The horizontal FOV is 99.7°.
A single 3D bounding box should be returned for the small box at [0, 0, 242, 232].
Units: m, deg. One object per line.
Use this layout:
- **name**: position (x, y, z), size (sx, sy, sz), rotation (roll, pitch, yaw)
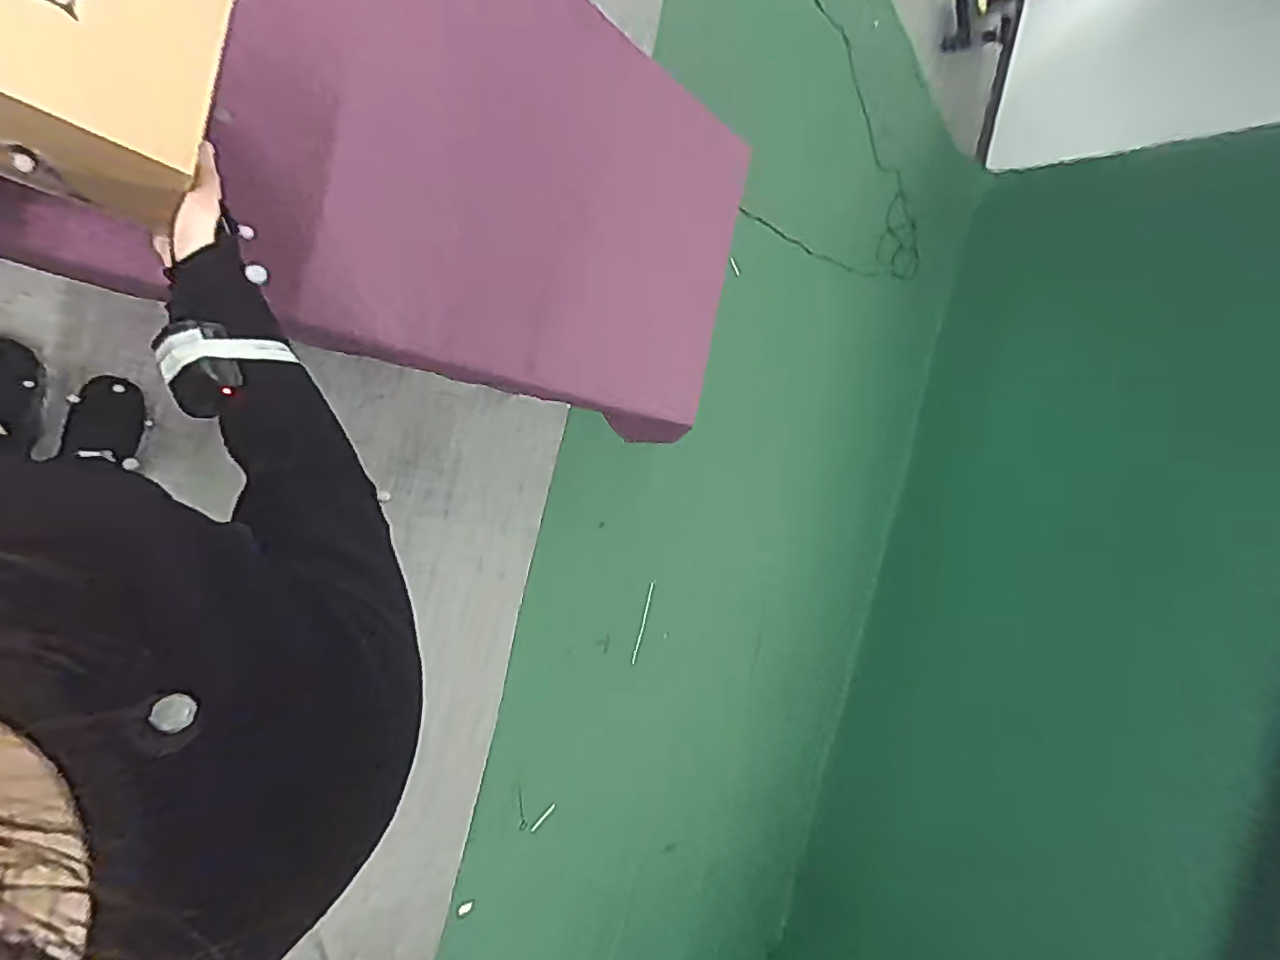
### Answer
- **small box**: position (-0.433, -0.323, 0.413), size (0.168, 0.176, 0.179), rotation (13, 83, -46)
